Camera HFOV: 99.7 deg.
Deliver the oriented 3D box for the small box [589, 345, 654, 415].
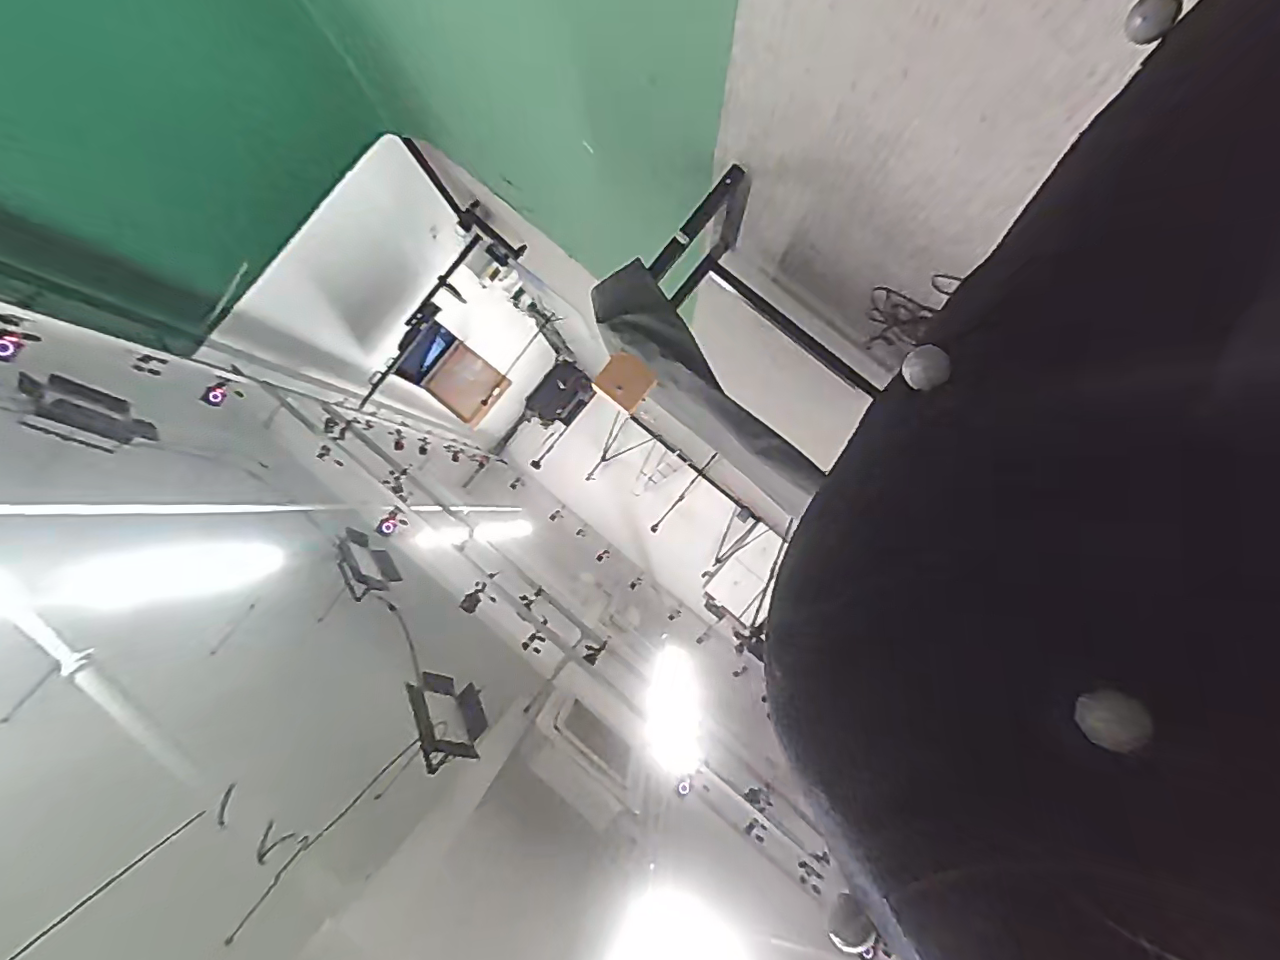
[{"bbox_3d":[-0.065,-0.365,1.990,0.179,0.176,0.168,40,178,-2],"label":"small box"}]
